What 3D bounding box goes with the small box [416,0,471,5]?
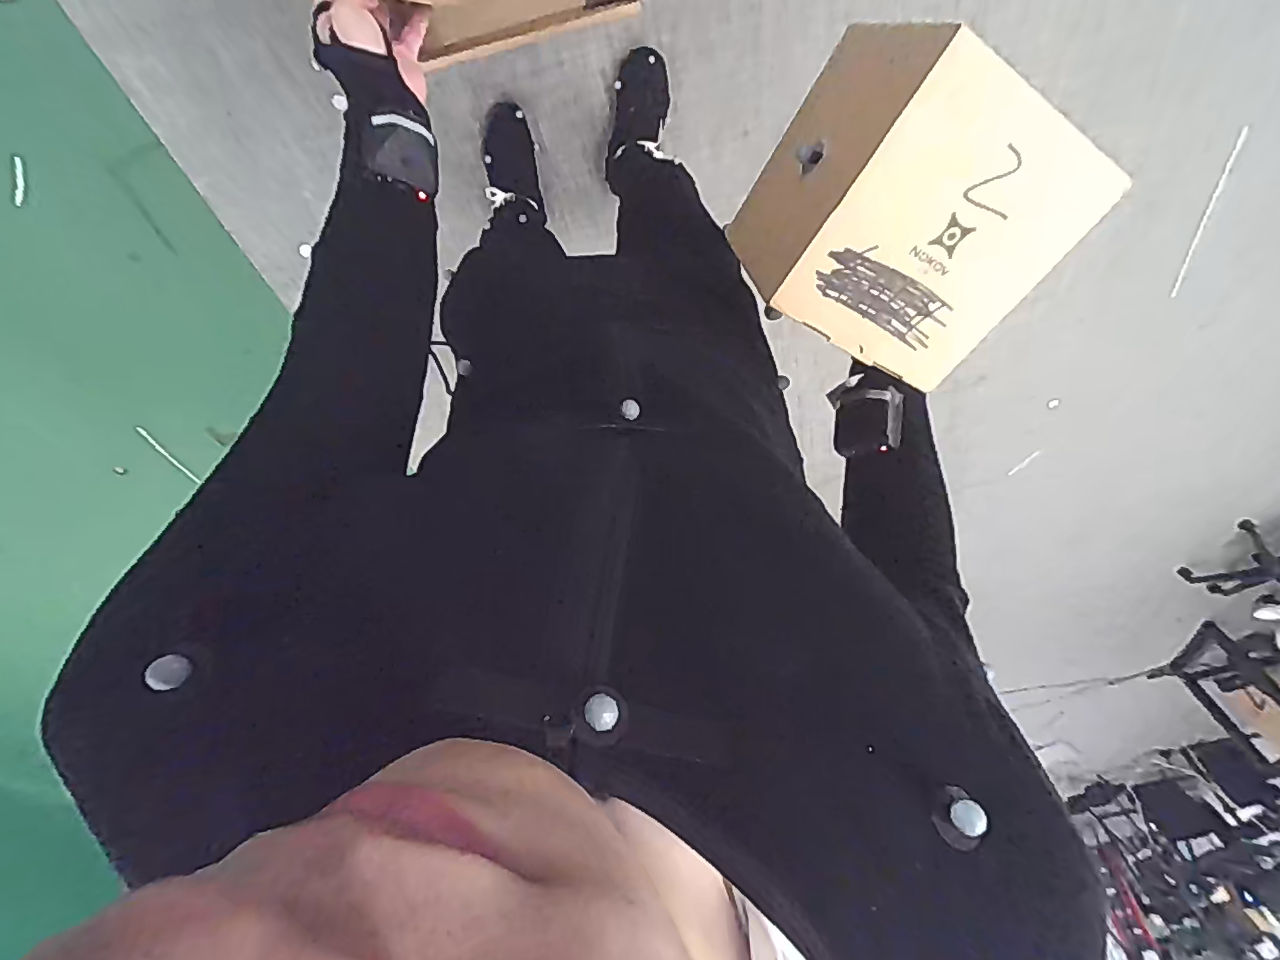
[{"bbox_3d":[-0.249,-0.564,0.494,0.168,0.176,0.179,6,129,-8],"label":"small box"}]
